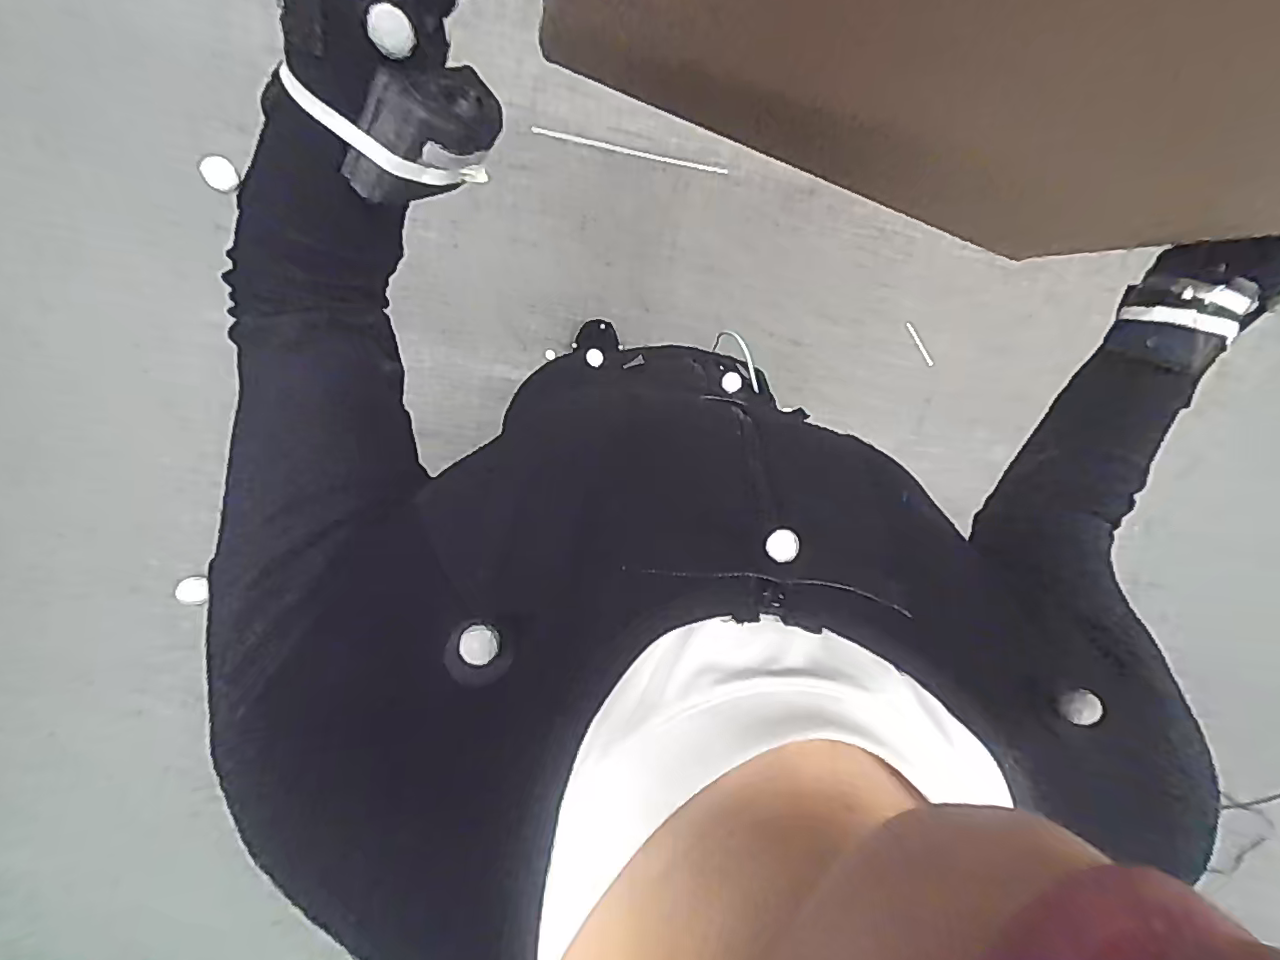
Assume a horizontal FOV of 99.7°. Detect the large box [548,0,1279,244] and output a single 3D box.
[{"bbox_3d":[0.210,-0.317,0.203,0.408,0.320,0.320,7,103,-24],"label":"large box"}]
